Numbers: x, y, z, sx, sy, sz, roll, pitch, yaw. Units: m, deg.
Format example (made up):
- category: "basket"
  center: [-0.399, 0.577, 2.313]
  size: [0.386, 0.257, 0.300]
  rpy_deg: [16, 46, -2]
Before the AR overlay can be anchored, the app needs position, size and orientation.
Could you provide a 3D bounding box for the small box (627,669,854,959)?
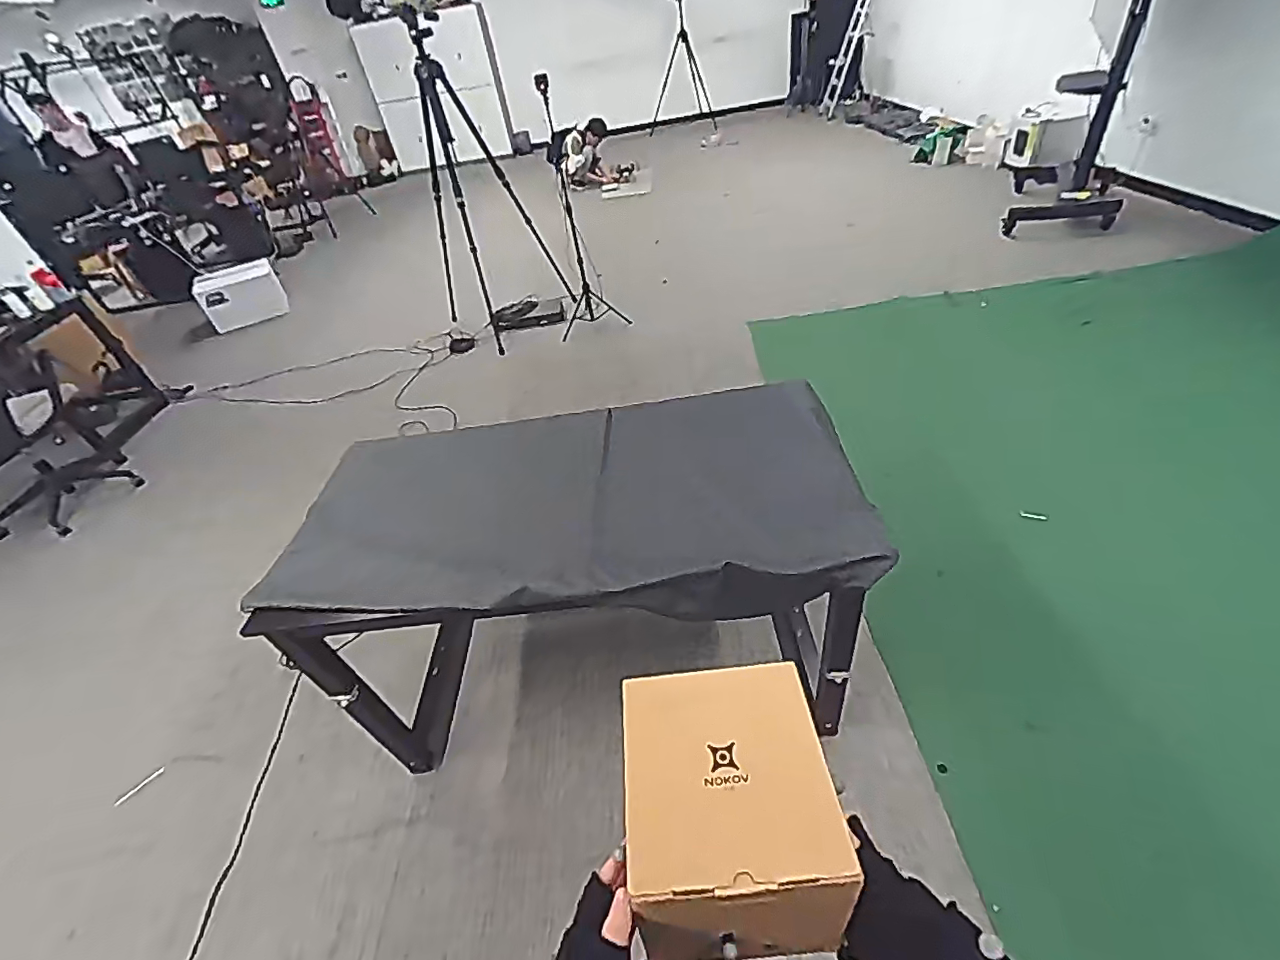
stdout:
- category: "small box"
  center: [0.078, 0.305, 0.503]
  size: [0.168, 0.176, 0.179]
  rpy_deg: [-7, 37, 2]
